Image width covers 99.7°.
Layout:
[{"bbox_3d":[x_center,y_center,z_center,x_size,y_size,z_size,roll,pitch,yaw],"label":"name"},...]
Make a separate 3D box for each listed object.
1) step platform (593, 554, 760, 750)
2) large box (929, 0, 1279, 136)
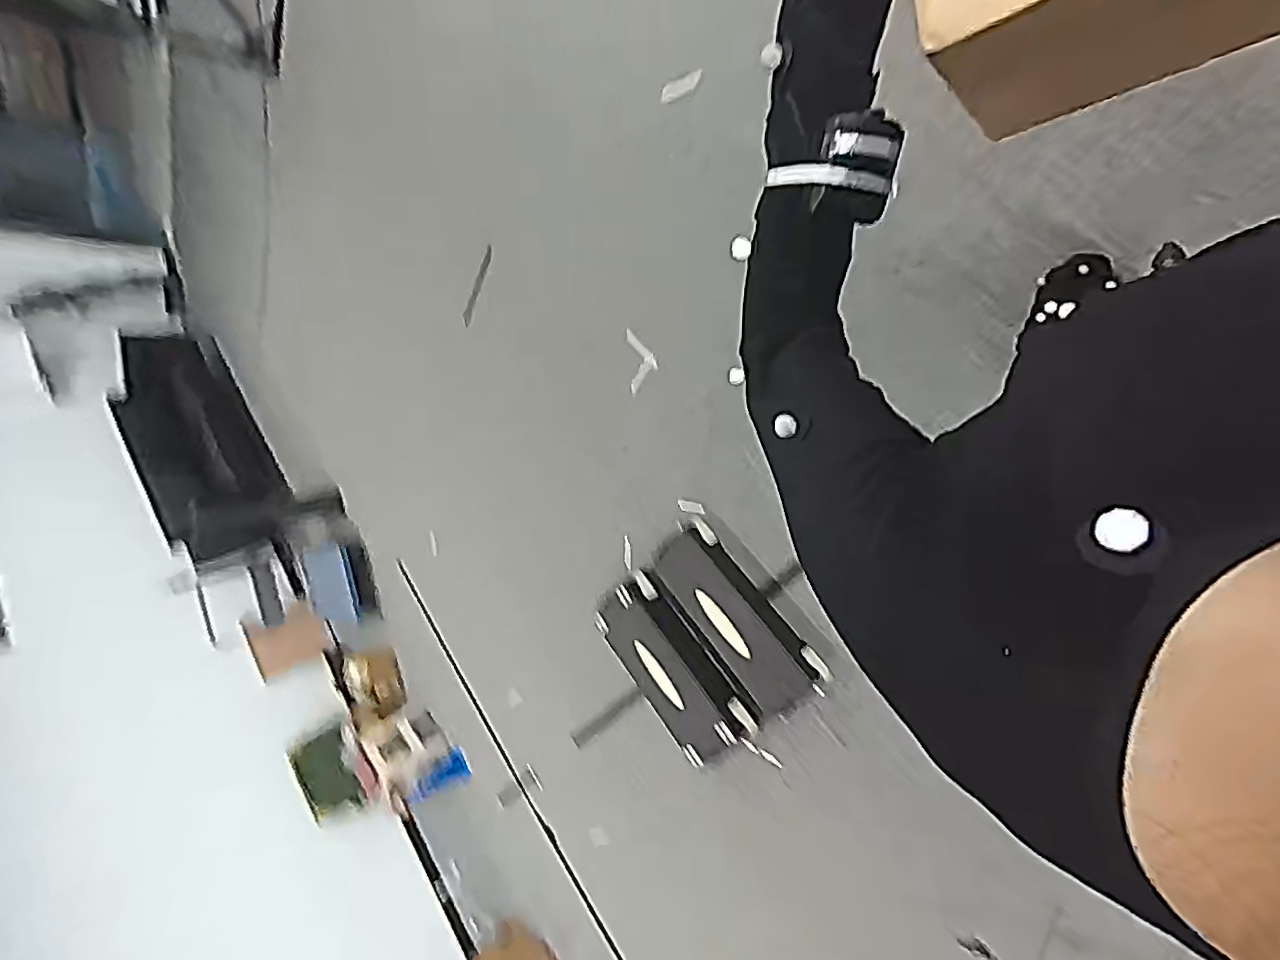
[{"bbox_3d":[0.114,0.620,1.983,0.684,0.204,0.286,51,129,21],"label":"step platform"},{"bbox_3d":[0.394,-0.477,0.307,0.408,0.320,0.320,-5,104,41],"label":"large box"}]
